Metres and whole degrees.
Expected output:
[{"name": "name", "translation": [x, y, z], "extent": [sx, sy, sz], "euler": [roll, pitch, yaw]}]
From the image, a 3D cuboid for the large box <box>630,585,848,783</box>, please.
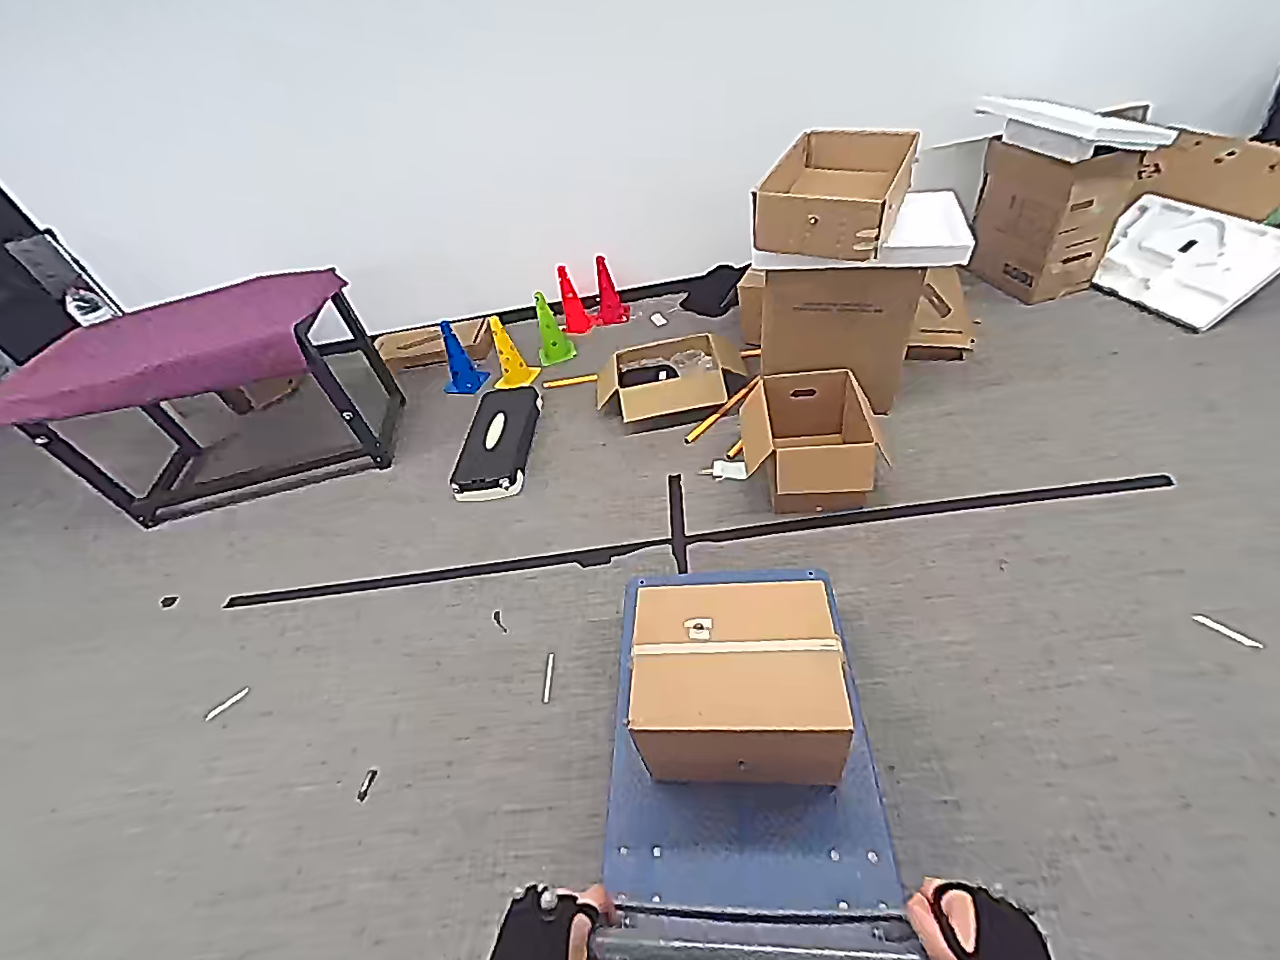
[{"name": "large box", "translation": [0.211, 0.459, 1.197], "extent": [0.408, 0.320, 0.320], "euler": [-5, 43, 10]}]
